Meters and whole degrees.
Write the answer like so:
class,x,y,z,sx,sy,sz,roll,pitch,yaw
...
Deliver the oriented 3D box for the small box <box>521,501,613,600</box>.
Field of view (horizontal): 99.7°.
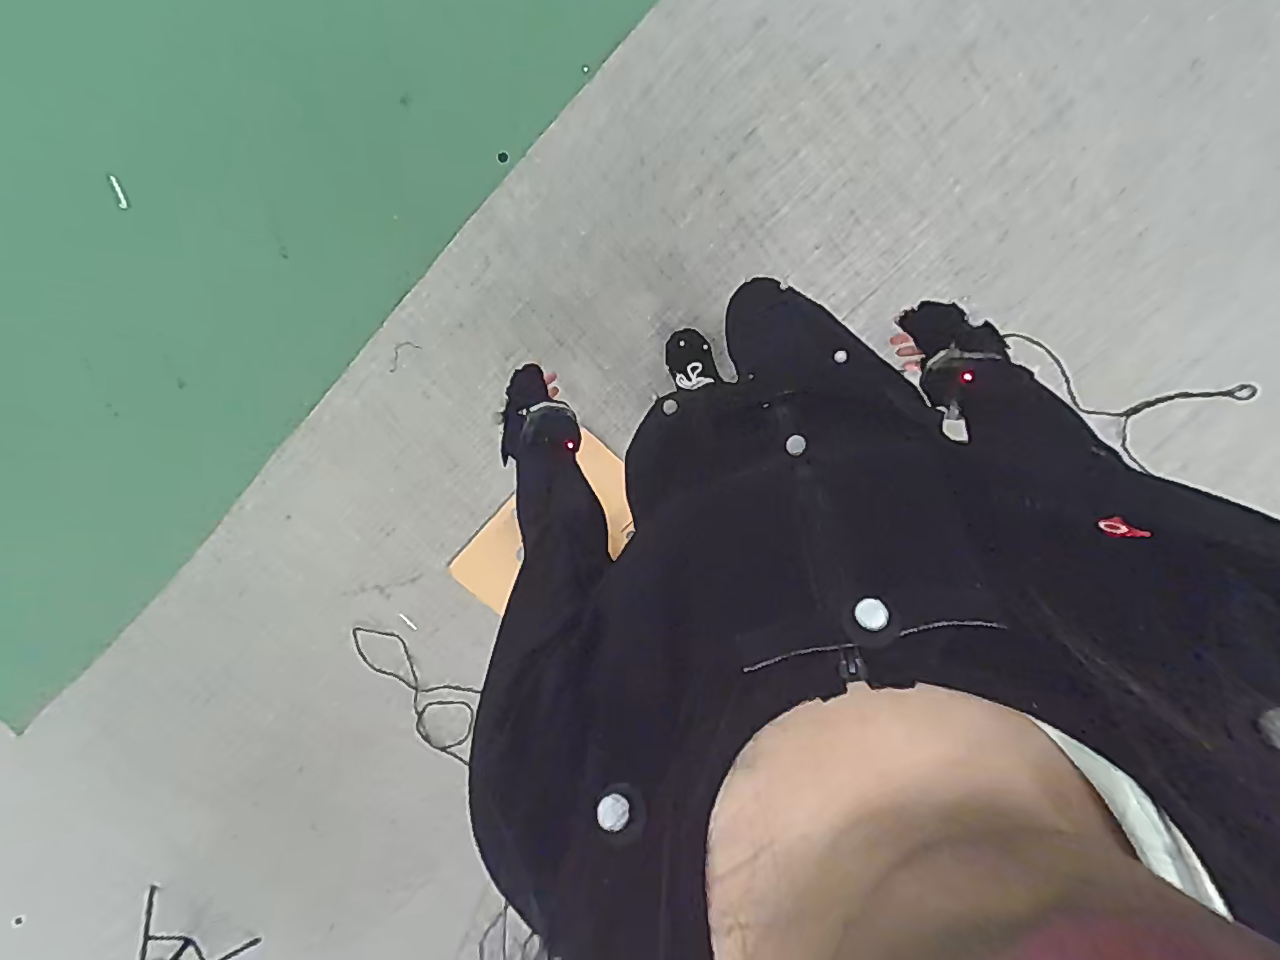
class,x,y,z,sx,sy,sz,roll,pitch,yaw
small box,-0.188,0.185,1.466,0.179,0.176,0.168,-41,100,12
